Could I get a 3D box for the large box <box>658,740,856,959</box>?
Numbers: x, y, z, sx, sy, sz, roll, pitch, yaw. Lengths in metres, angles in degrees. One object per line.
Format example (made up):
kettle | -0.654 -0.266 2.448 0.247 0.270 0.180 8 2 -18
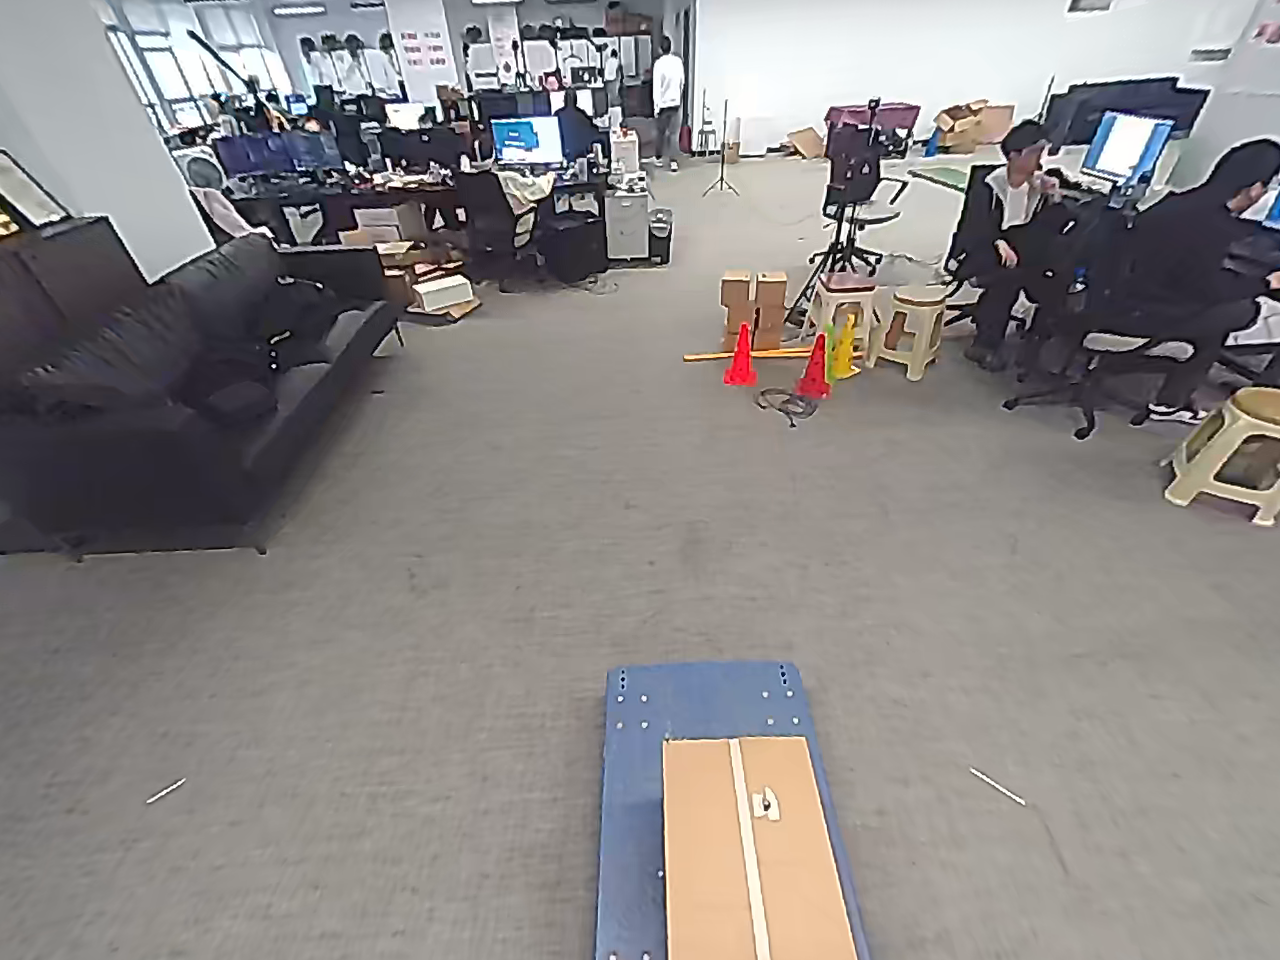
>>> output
large box | 0.206 0.813 1.113 0.320 0.320 0.408 -2 37 1
